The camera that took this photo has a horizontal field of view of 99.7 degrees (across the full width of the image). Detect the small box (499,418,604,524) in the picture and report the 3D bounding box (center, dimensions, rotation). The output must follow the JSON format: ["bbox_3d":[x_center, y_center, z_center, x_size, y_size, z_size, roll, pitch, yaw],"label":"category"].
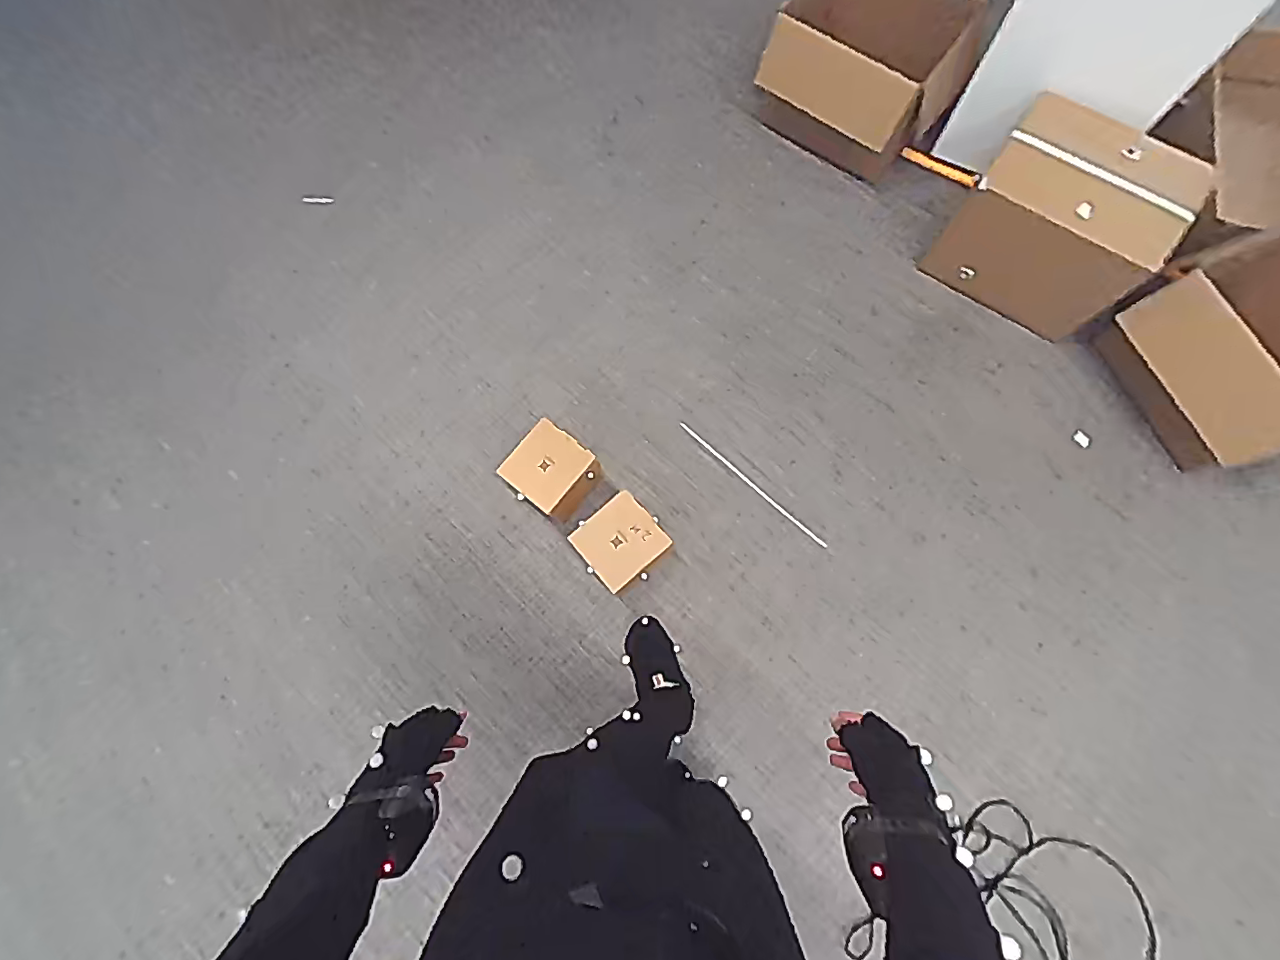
[{"bbox_3d":[-0.205,-0.013,1.321,0.168,0.176,0.179,38,81,12],"label":"small box"}]

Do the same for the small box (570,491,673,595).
[{"bbox_3d":[-0.035,0.155,1.265,0.179,0.176,0.168,-40,77,-6],"label":"small box"}]
